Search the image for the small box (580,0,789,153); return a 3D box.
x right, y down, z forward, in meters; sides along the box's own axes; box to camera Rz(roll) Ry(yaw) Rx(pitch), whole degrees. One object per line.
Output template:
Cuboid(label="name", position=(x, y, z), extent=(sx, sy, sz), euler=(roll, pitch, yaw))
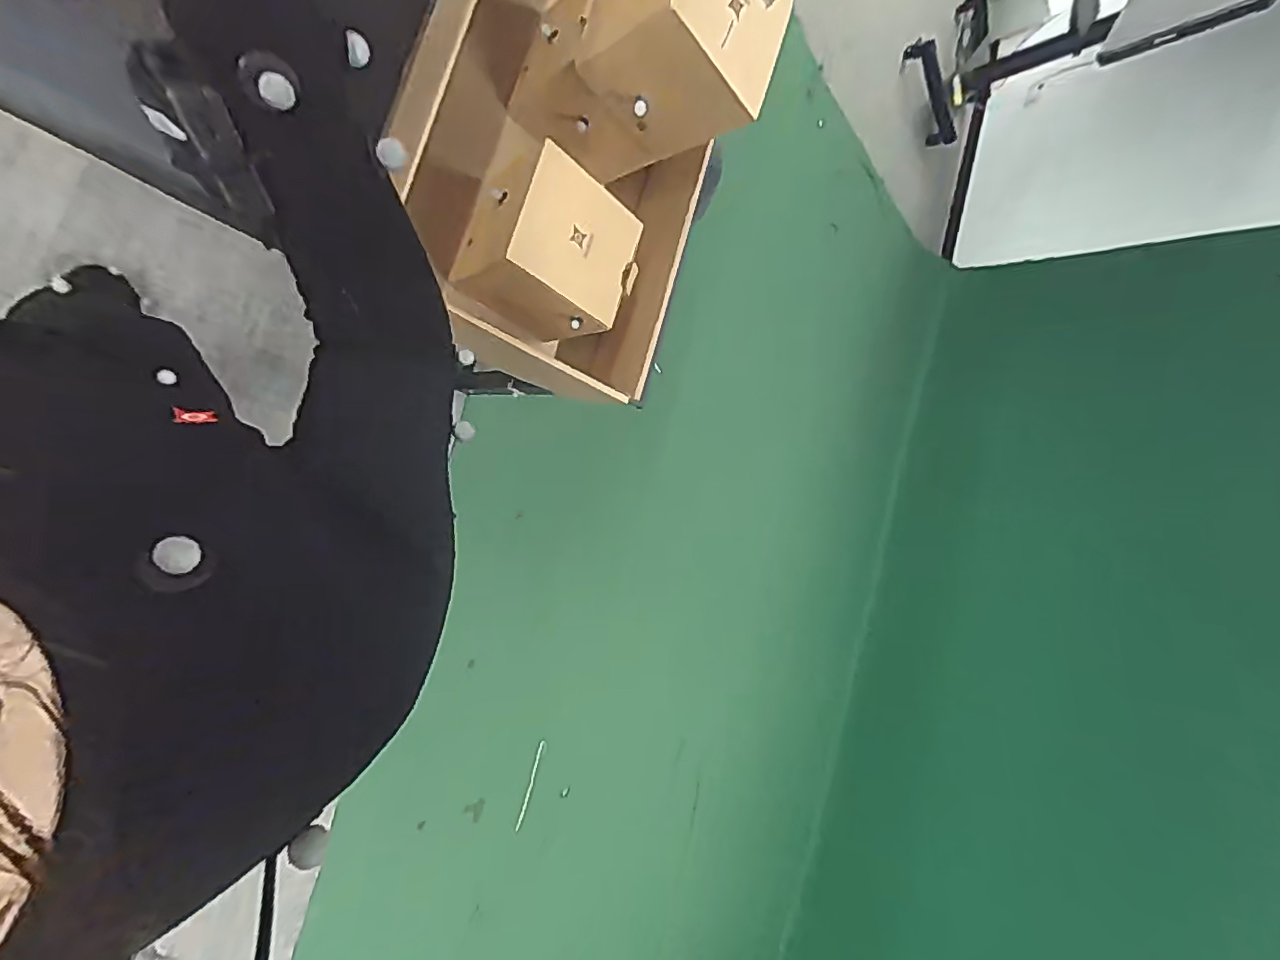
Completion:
Cuboid(label="small box", position=(0.051, -0.550, 0.663), extent=(0.168, 0.176, 0.179), euler=(22, 83, -43))
